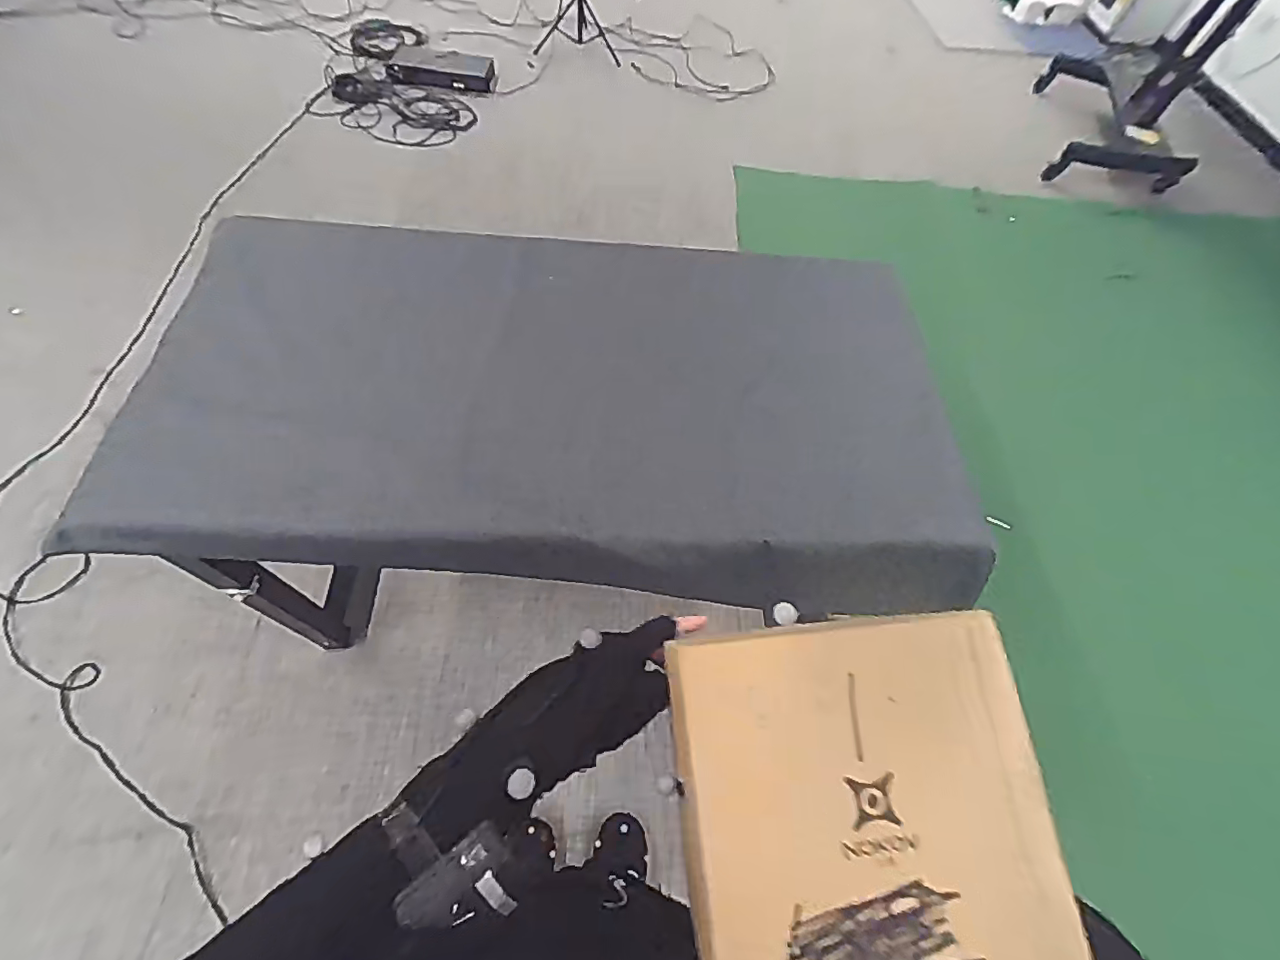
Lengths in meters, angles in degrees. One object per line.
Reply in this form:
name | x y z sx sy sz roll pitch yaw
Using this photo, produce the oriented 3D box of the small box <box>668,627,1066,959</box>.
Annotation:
small box | 0.108 0.187 0.338 0.168 0.176 0.179 -5 74 -2
